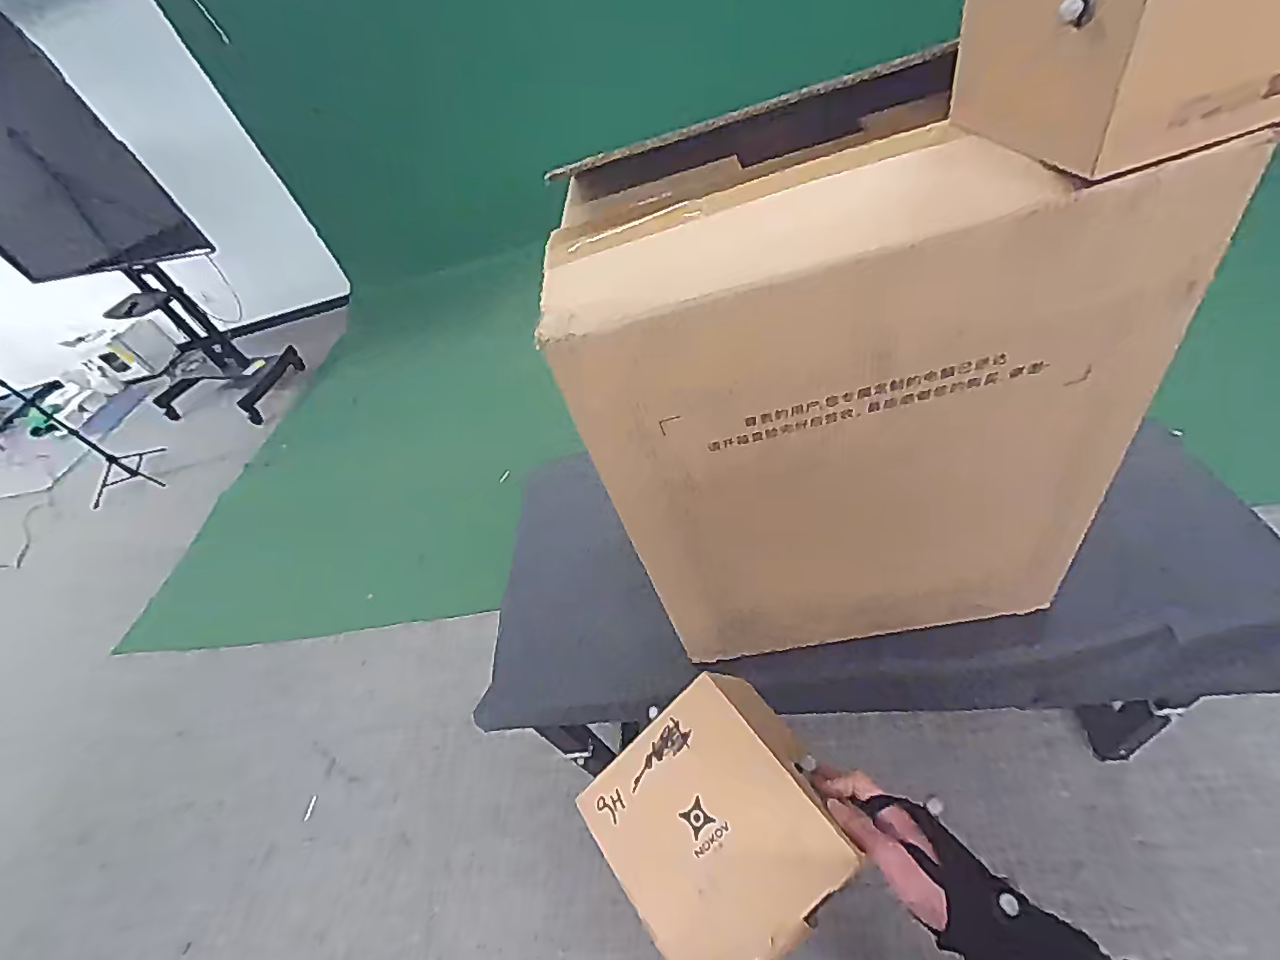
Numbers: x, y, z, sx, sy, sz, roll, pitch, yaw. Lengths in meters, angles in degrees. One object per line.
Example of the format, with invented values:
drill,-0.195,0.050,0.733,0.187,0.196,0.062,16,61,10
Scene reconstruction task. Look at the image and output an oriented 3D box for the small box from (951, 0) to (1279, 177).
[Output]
small box,0.339,-0.325,0.356,0.168,0.176,0.179,-16,44,3
